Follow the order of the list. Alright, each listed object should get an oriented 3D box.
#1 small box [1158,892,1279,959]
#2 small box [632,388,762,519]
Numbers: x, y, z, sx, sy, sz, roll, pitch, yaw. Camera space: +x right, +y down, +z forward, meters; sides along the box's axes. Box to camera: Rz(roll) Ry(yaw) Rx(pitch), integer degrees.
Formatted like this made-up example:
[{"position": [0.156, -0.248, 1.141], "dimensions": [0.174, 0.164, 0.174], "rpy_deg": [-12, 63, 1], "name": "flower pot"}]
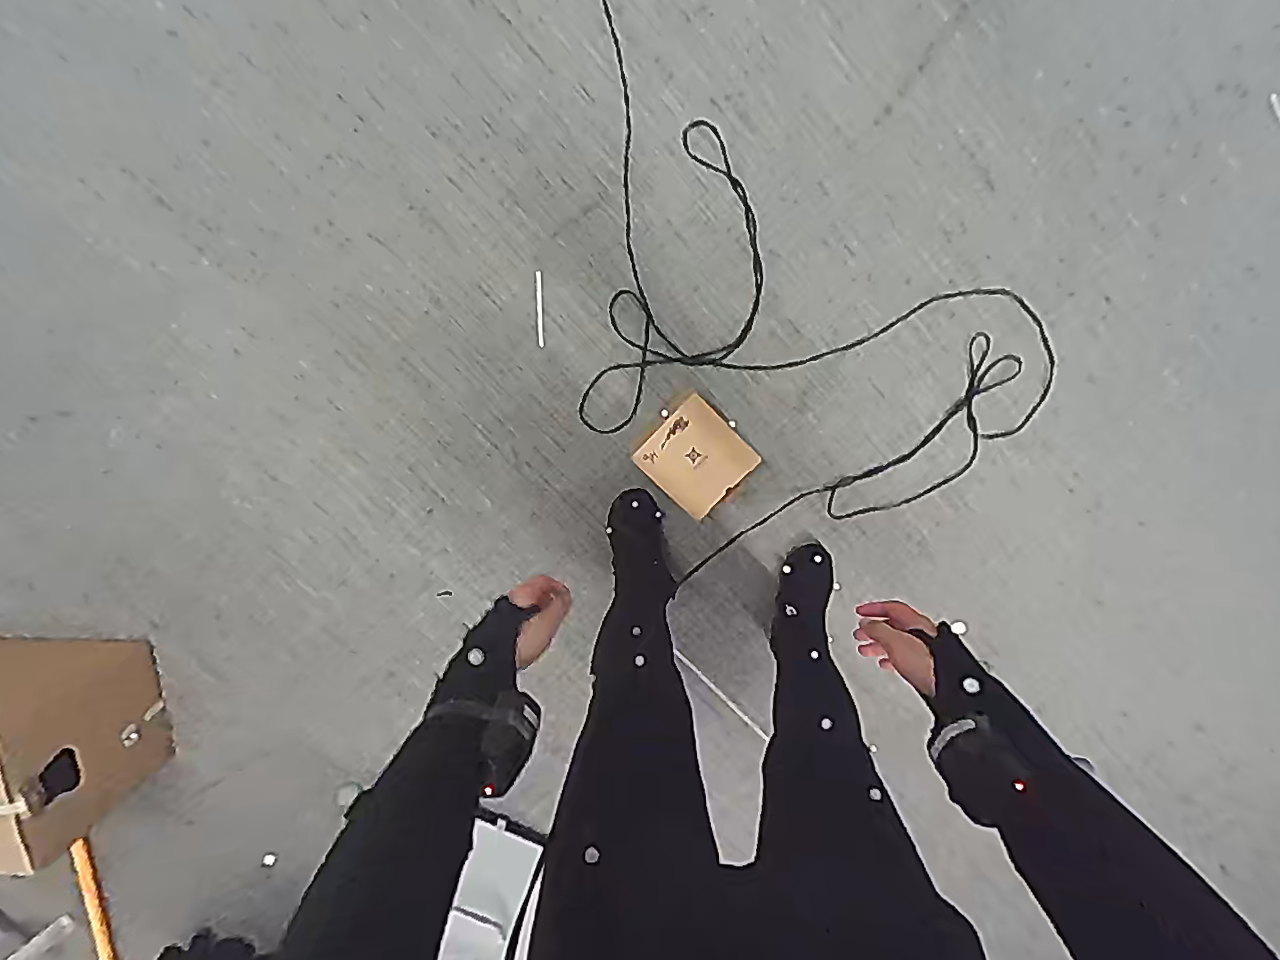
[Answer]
[{"position": [1.463, 1.194, 1.349], "dimensions": [0.179, 0.176, 0.168], "rpy_deg": [-42, 100, 9], "name": "small box"}, {"position": [0.102, -0.060, 1.039], "dimensions": [0.179, 0.176, 0.168], "rpy_deg": [43, 100, -10], "name": "small box"}]
